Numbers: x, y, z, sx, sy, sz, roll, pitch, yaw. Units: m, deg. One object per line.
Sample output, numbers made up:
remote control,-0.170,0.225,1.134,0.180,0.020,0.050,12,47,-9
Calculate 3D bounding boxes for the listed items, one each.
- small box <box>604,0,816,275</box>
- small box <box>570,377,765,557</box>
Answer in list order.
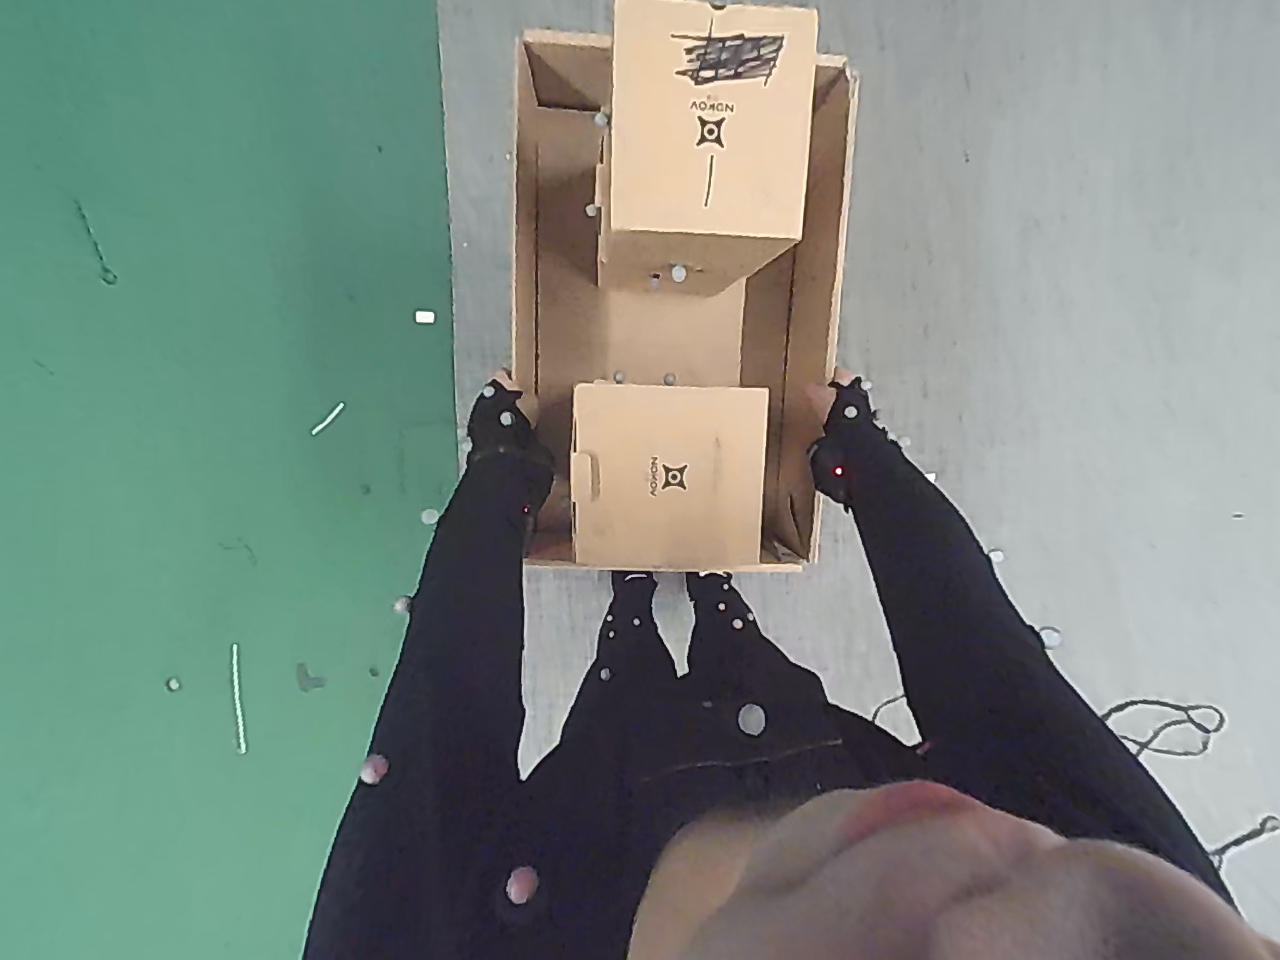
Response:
small box,0.051,-0.308,0.521,0.168,0.176,0.179,1,101,-5
small box,0.018,-0.021,0.571,0.179,0.176,0.168,0,100,-6
